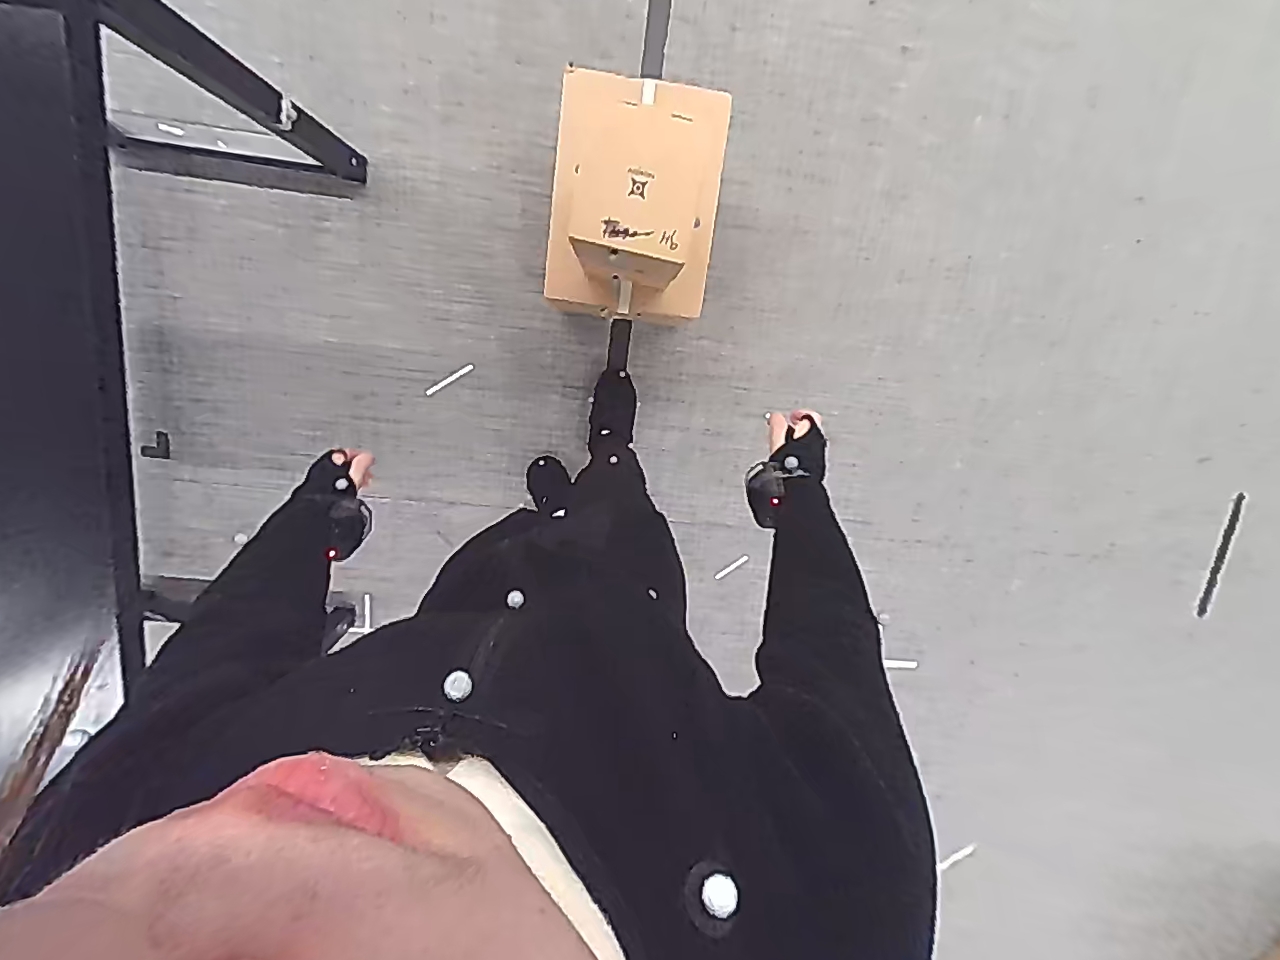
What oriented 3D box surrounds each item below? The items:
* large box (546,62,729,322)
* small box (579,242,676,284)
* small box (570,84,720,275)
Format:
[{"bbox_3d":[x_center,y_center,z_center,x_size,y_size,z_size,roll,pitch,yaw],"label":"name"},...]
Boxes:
[{"bbox_3d":[-0.016,-0.570,1.159,0.320,0.320,0.408,6,102,-6],"label":"large box"},{"bbox_3d":[-0.007,-0.454,0.935,0.168,0.176,0.179,10,103,-5],"label":"small box"},{"bbox_3d":[0.002,-0.414,0.777,0.168,0.176,0.179,12,101,-4],"label":"small box"}]
